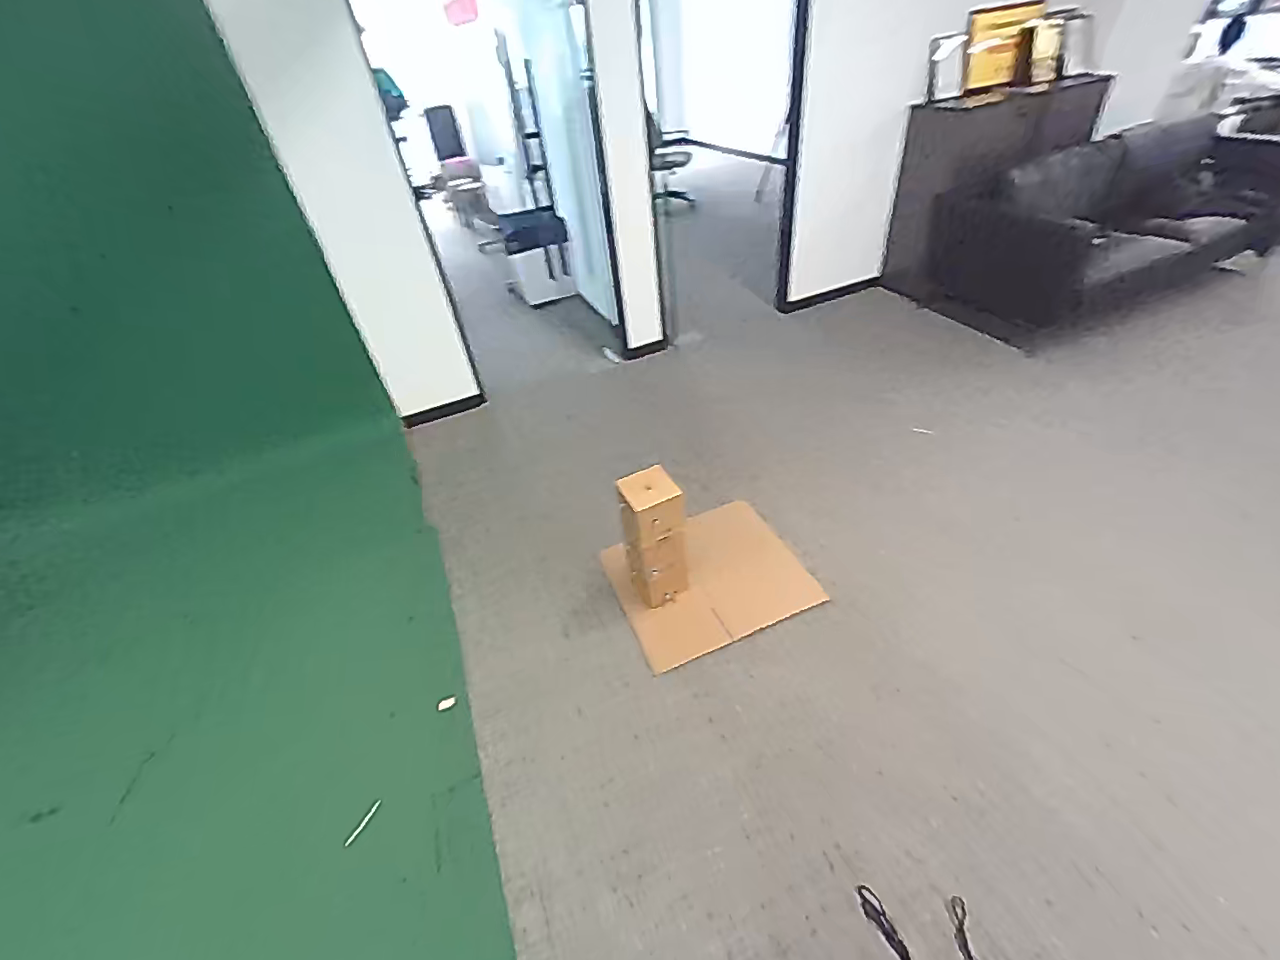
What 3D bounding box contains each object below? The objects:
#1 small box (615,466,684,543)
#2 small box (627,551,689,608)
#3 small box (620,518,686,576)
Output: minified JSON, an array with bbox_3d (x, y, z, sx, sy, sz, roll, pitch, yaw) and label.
[{"bbox_3d":[0.036,0.088,1.799,0.168,0.176,0.179,-22,41,-16],"label":"small box"},{"bbox_3d":[0.068,0.338,2.005,0.168,0.176,0.179,-25,43,-19],"label":"small box"},{"bbox_3d":[0.050,0.213,1.901,0.168,0.176,0.179,-22,41,-16],"label":"small box"}]
